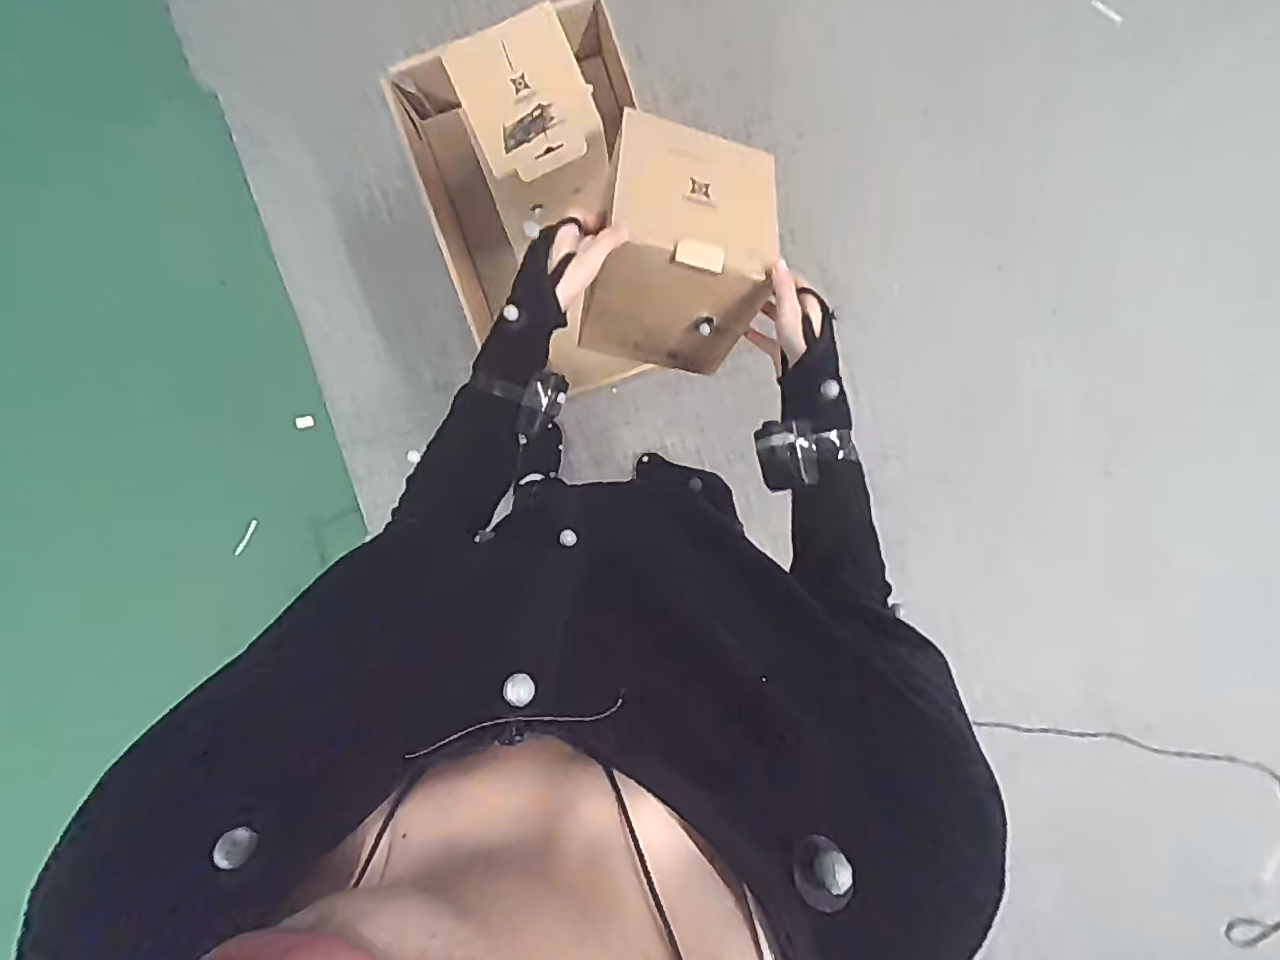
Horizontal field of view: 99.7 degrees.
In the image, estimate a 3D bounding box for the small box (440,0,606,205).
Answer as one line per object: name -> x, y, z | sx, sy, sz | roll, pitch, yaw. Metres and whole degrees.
small box -> -0.158, -0.537, 0.800 | 0.168, 0.176, 0.179 | -23, 96, 3
